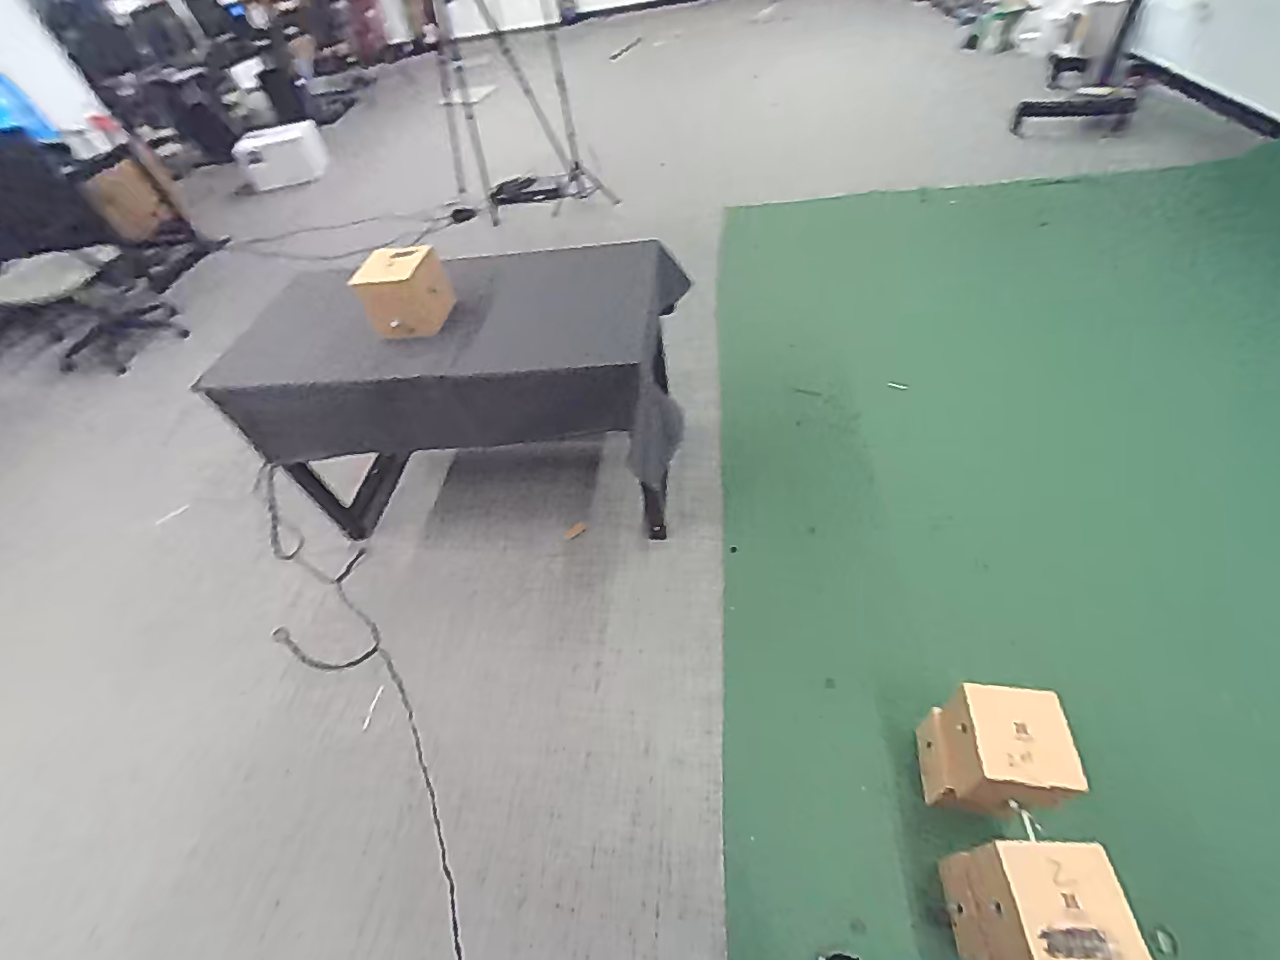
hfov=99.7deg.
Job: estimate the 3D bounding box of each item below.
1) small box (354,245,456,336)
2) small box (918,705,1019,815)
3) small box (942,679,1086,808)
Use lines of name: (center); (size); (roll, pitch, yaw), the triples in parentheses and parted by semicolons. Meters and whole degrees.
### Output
small box: (-0.617, -0.507, 1.451); (0.168, 0.176, 0.179); (-1, 49, 10)
small box: (0.730, 0.620, 1.194); (0.179, 0.176, 0.168); (3, 49, 12)
small box: (0.718, 0.518, 1.064); (0.168, 0.176, 0.179); (2, 49, 12)
